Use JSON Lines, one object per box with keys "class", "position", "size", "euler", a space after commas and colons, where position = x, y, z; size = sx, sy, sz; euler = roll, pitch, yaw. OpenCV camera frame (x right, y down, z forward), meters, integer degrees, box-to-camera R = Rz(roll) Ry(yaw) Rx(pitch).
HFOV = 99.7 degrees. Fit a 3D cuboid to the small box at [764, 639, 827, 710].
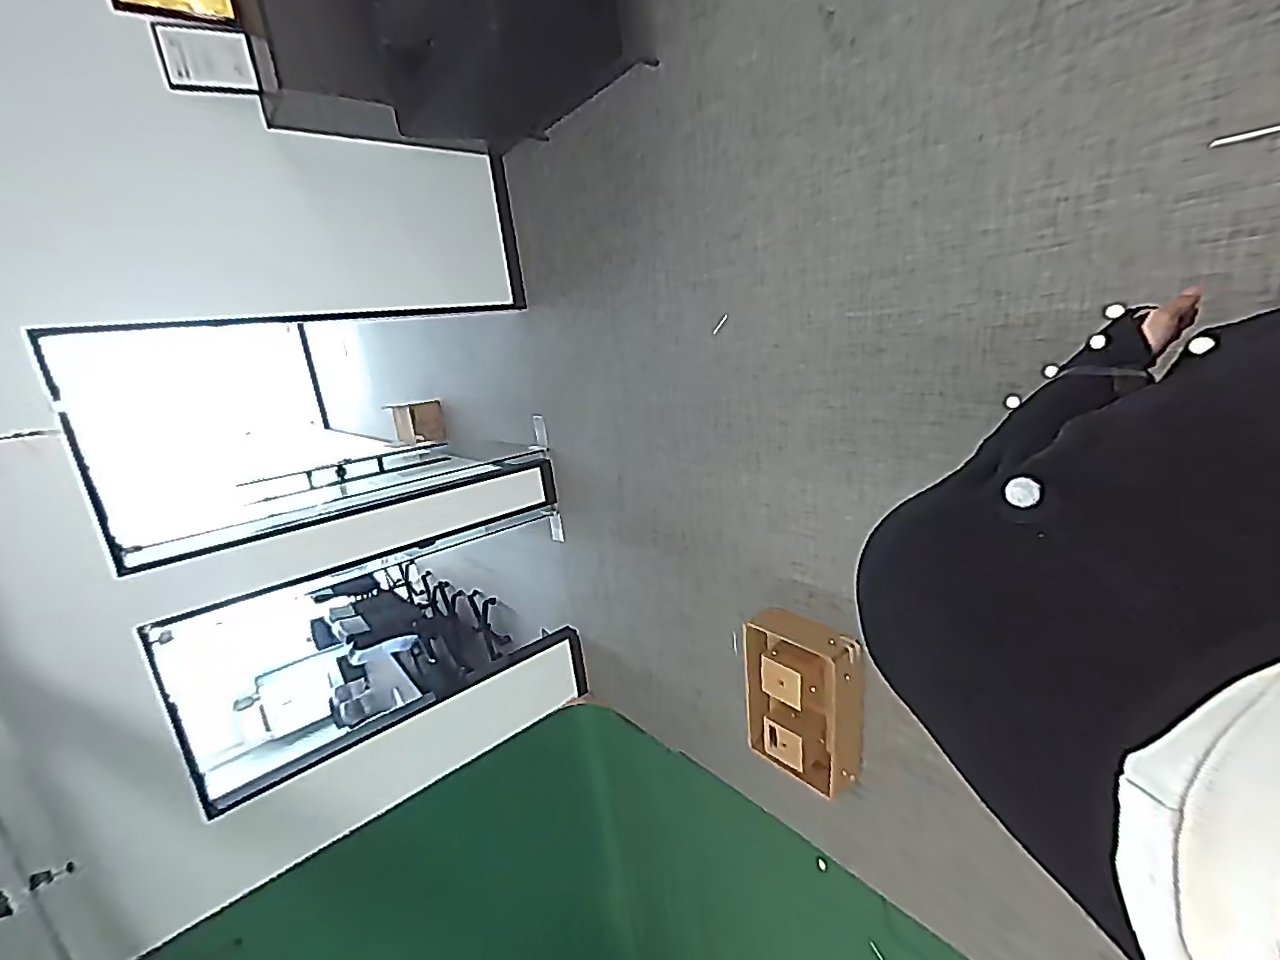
{"class": "small box", "position": [0.601, 0.739, 2.082], "size": [0.179, 0.176, 0.168], "euler": [14, 115, 49]}
